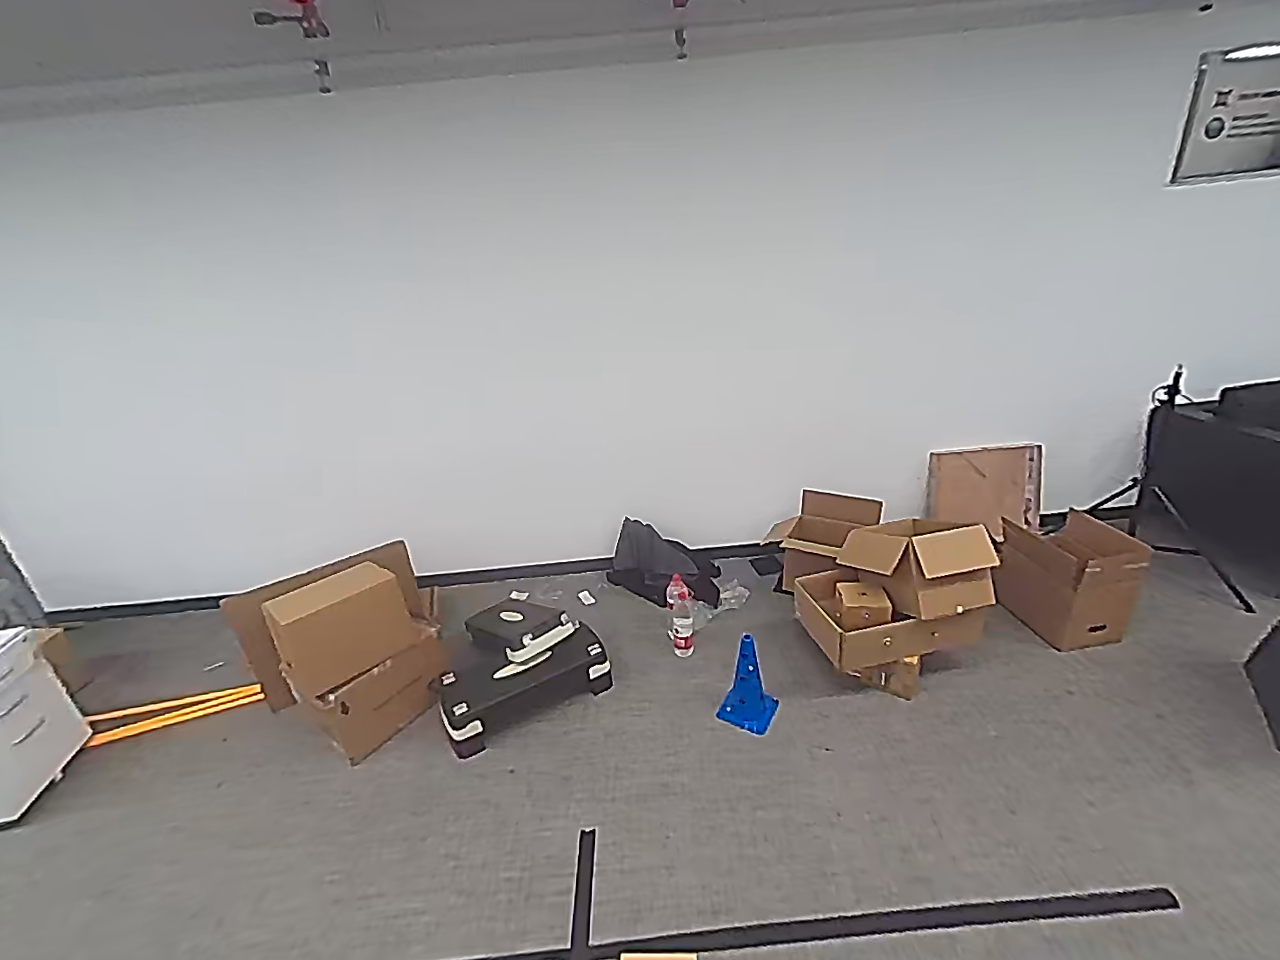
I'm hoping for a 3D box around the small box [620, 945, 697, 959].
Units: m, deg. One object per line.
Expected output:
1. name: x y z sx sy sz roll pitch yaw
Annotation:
1. small box: 0.039 1.113 1.117 0.168 0.176 0.179 -3 24 4
